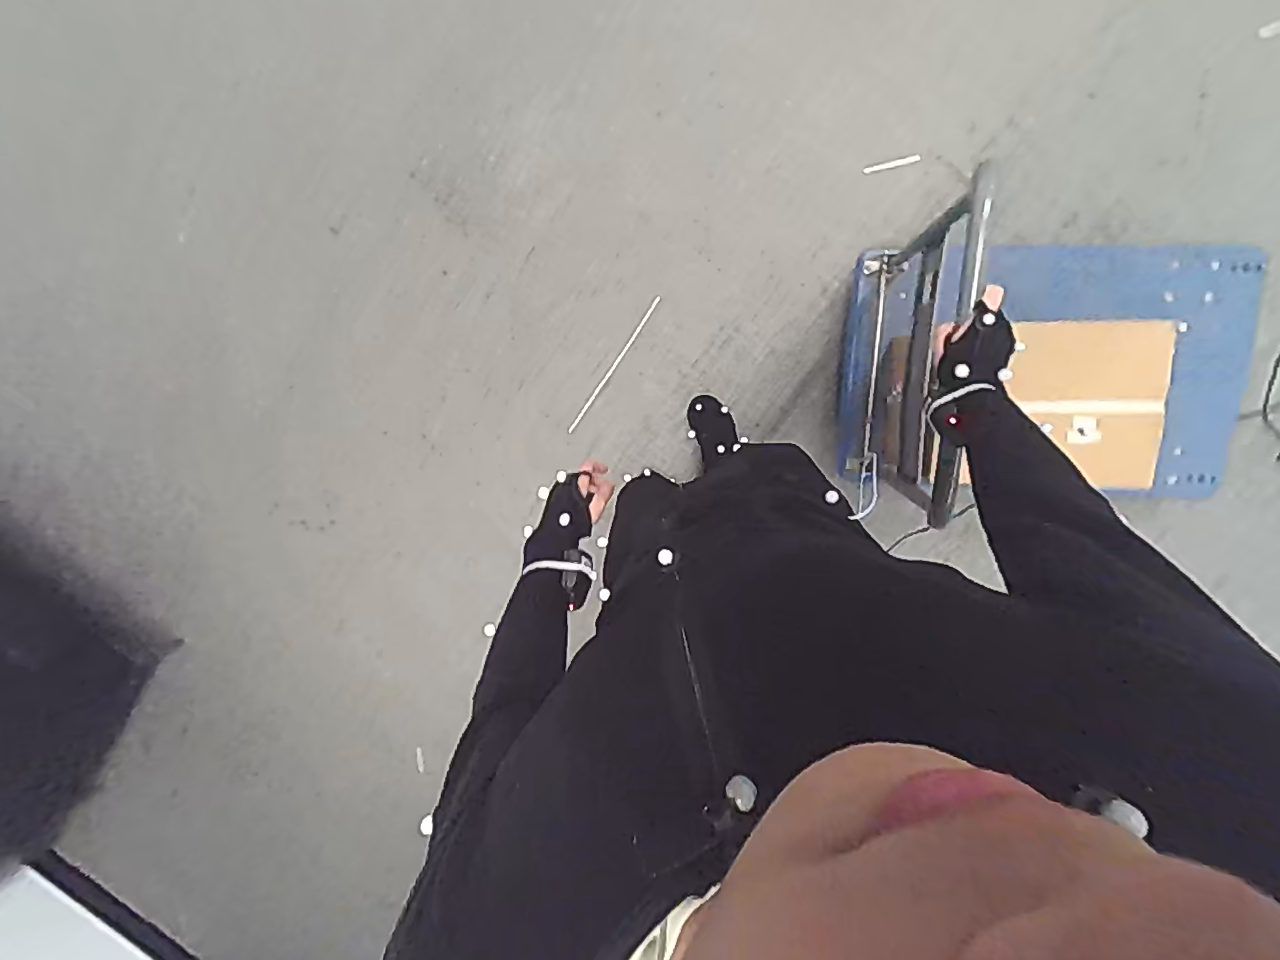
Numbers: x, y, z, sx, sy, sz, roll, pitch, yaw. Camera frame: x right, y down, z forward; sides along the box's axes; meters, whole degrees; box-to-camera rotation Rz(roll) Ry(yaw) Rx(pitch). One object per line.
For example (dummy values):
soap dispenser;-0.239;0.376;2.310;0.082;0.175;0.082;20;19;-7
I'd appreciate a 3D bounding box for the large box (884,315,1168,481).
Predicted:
large box;0.792;-0.174;1.182;0.408;0.320;0.320;1;100;7
